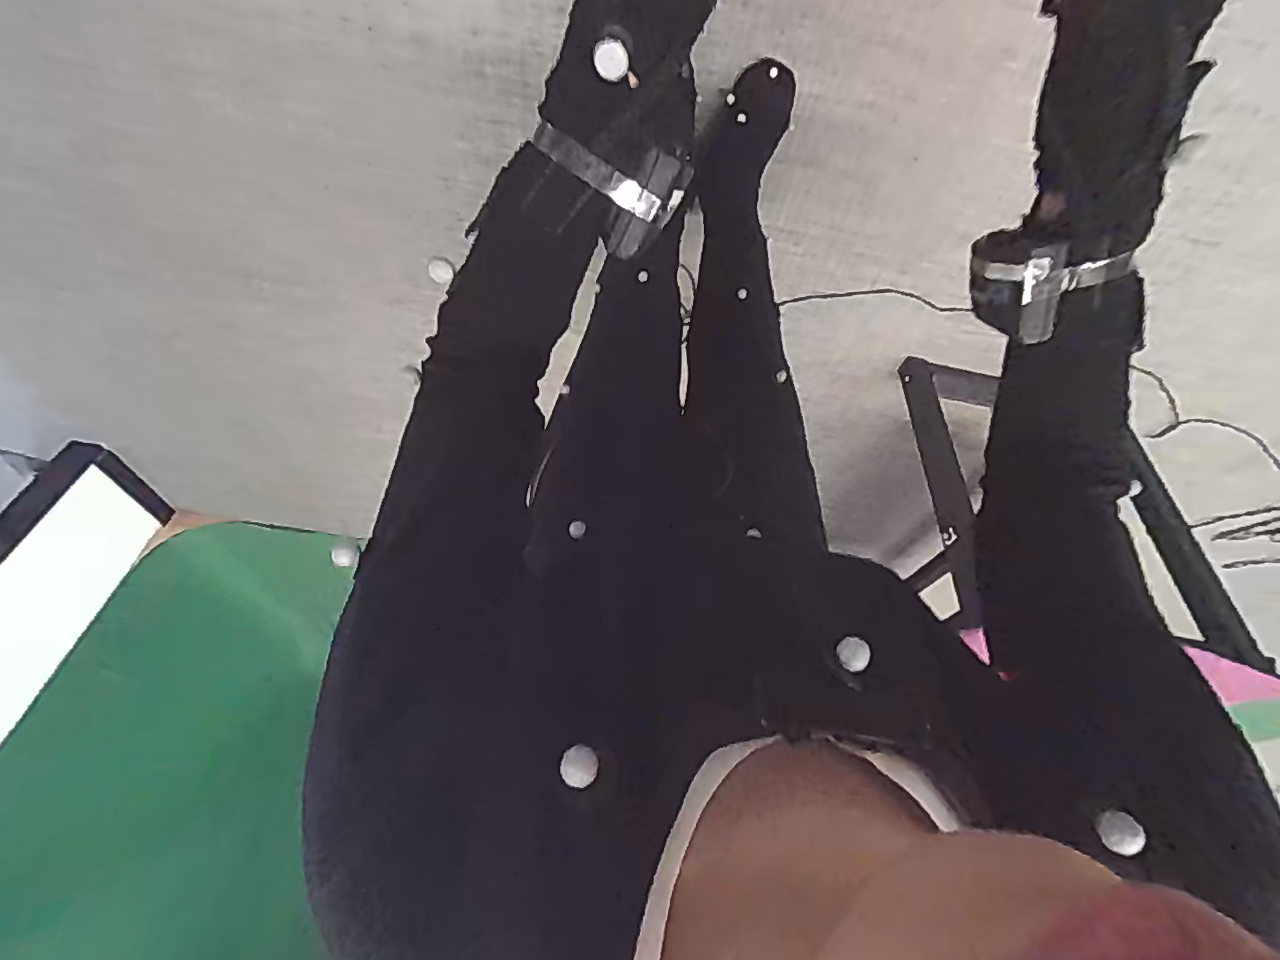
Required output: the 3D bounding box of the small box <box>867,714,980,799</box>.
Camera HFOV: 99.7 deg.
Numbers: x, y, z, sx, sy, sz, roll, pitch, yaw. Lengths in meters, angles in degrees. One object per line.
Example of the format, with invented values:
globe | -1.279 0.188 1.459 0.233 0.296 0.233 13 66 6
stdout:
small box | 0.703 0.702 1.362 0.179 0.176 0.168 14 142 -7
